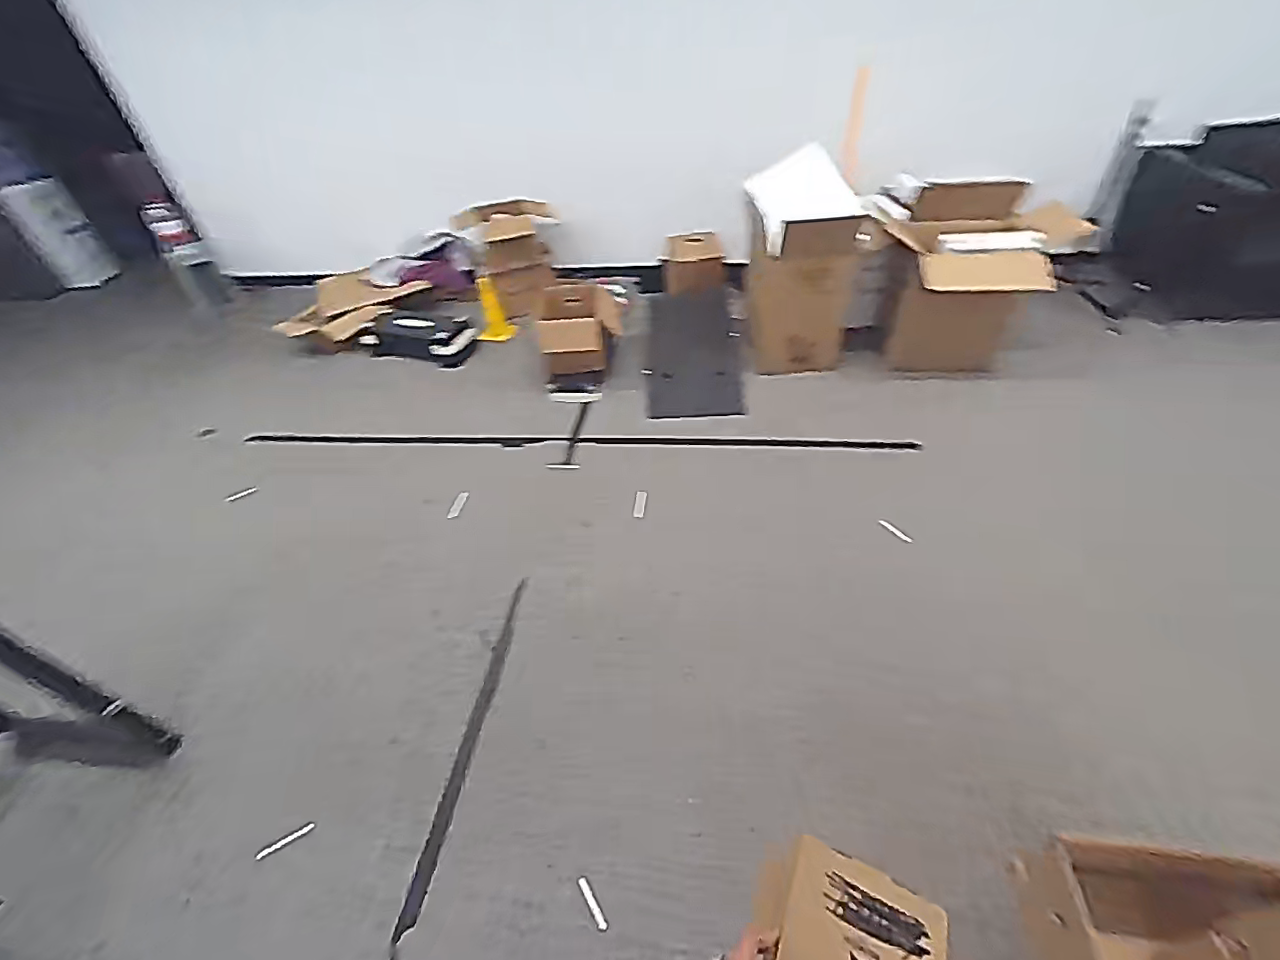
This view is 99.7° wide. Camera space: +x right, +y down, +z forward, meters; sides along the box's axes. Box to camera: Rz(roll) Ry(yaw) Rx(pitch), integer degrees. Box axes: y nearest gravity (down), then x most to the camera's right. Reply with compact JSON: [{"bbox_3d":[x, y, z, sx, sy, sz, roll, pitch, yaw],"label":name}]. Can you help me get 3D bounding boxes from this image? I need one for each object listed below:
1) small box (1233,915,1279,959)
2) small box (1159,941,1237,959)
[{"bbox_3d":[0.905,0.660,0.662,0.179,0.176,0.168,5,44,10],"label":"small box"},{"bbox_3d":[0.914,0.784,0.771,0.179,0.176,0.168,1,43,6],"label":"small box"}]
